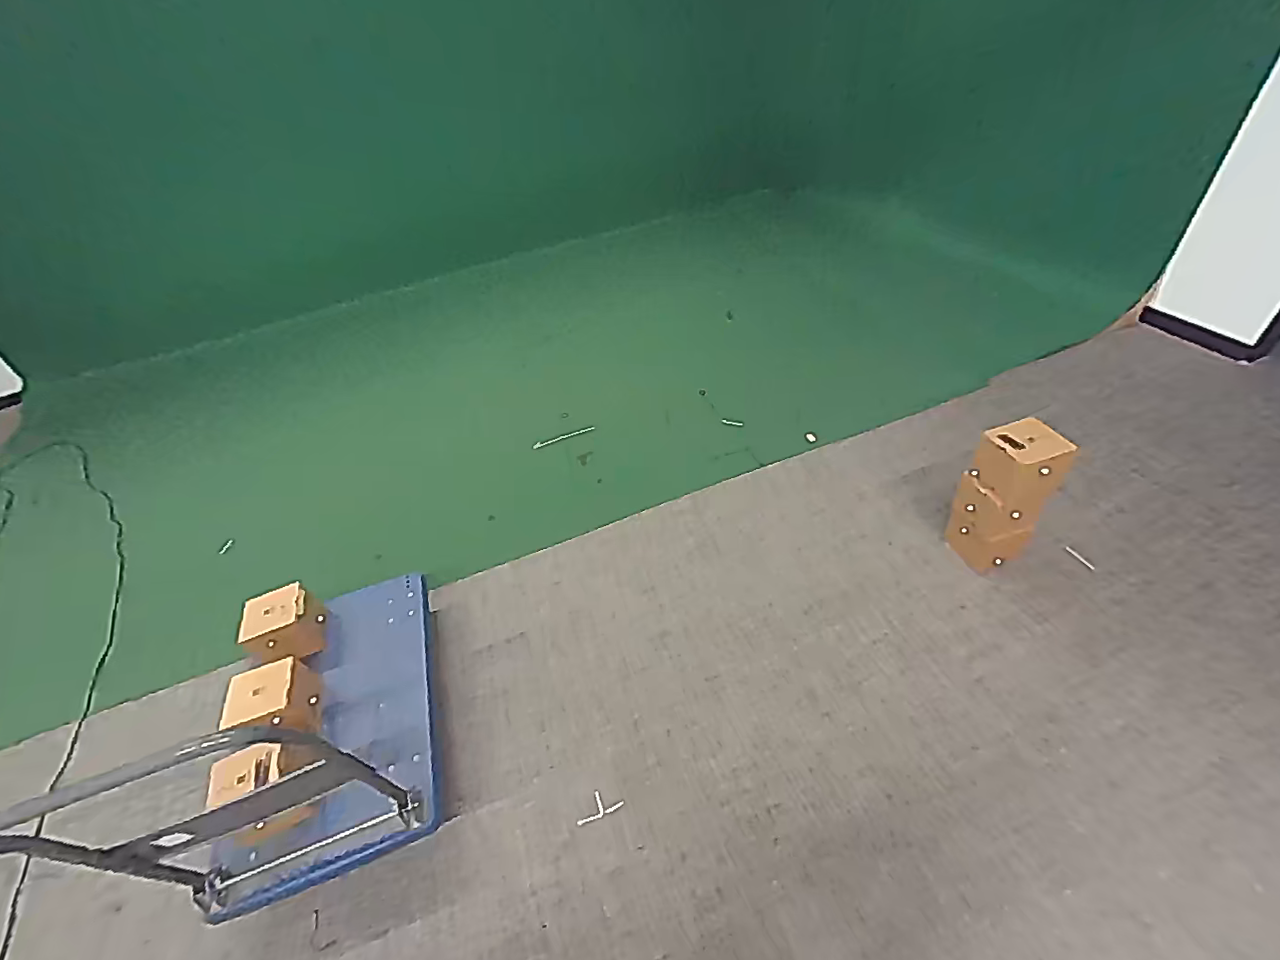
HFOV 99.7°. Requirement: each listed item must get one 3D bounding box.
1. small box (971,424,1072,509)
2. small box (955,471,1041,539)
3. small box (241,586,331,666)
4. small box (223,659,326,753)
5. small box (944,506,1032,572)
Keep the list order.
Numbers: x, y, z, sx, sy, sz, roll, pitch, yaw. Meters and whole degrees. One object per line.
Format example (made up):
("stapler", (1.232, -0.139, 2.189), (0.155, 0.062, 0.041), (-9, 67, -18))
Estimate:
("small box", (1.139, -0.038, 1.636), (0.179, 0.176, 0.168), (-17, 44, -6))
("small box", (1.151, 0.064, 1.743), (0.179, 0.176, 0.168), (-18, 44, -4))
("small box", (-1.147, 0.482, 1.762), (0.179, 0.176, 0.168), (-20, 45, -9))
("small box", (-1.049, 0.658, 1.567), (0.179, 0.176, 0.168), (-18, 44, -9))
("small box", (1.181, 0.183, 1.852), (0.168, 0.176, 0.179), (-17, 44, -4))
